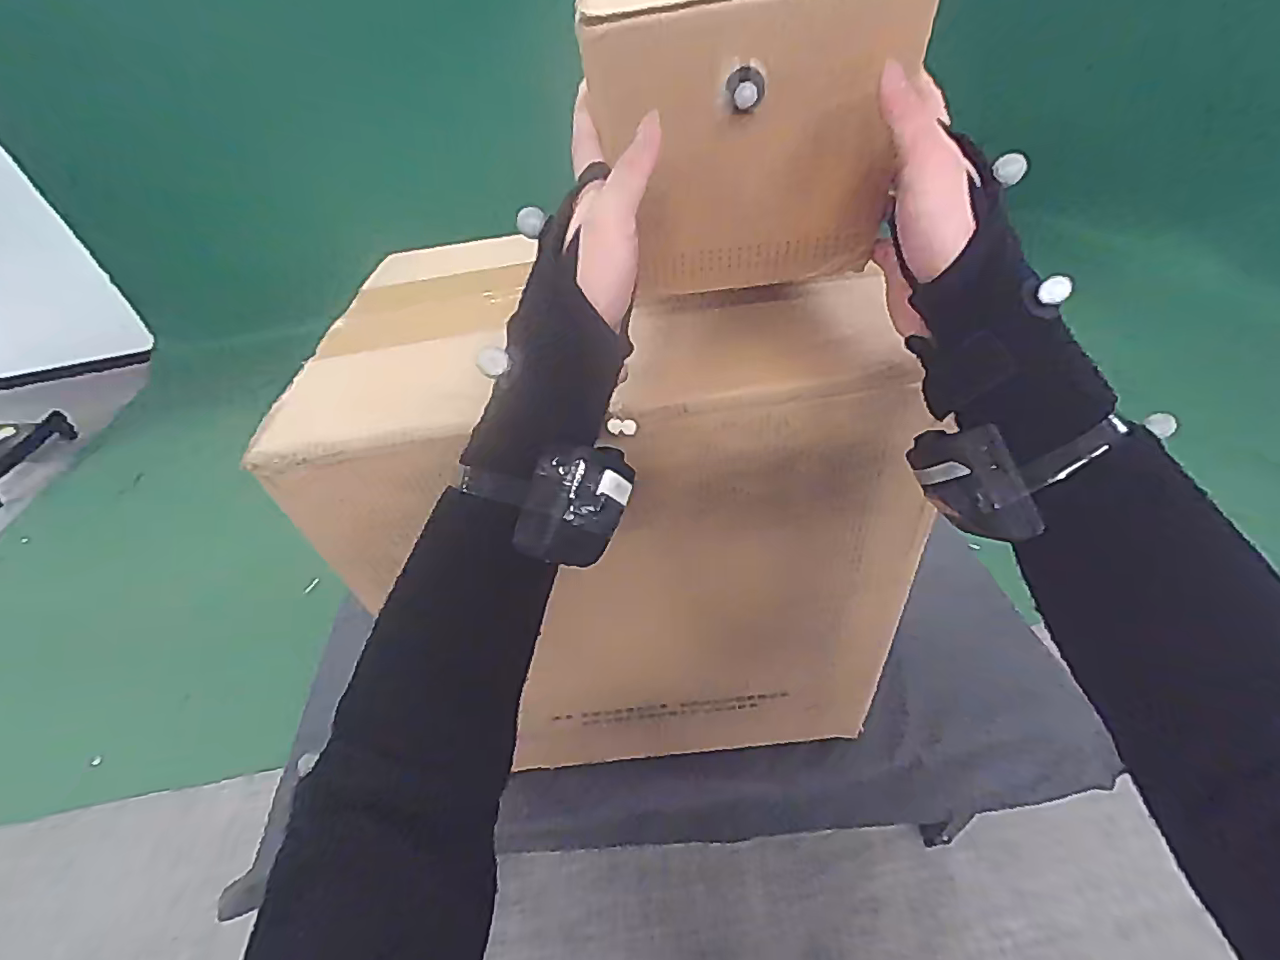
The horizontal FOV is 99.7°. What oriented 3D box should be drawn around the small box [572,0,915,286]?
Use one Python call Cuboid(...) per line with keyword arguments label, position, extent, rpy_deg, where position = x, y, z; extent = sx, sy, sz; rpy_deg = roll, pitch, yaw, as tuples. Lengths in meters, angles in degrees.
Cuboid(label="small box", position=(0.059, -0.253, 0.370), extent=(0.179, 0.176, 0.168), rpy_deg=(-4, 56, 4))
